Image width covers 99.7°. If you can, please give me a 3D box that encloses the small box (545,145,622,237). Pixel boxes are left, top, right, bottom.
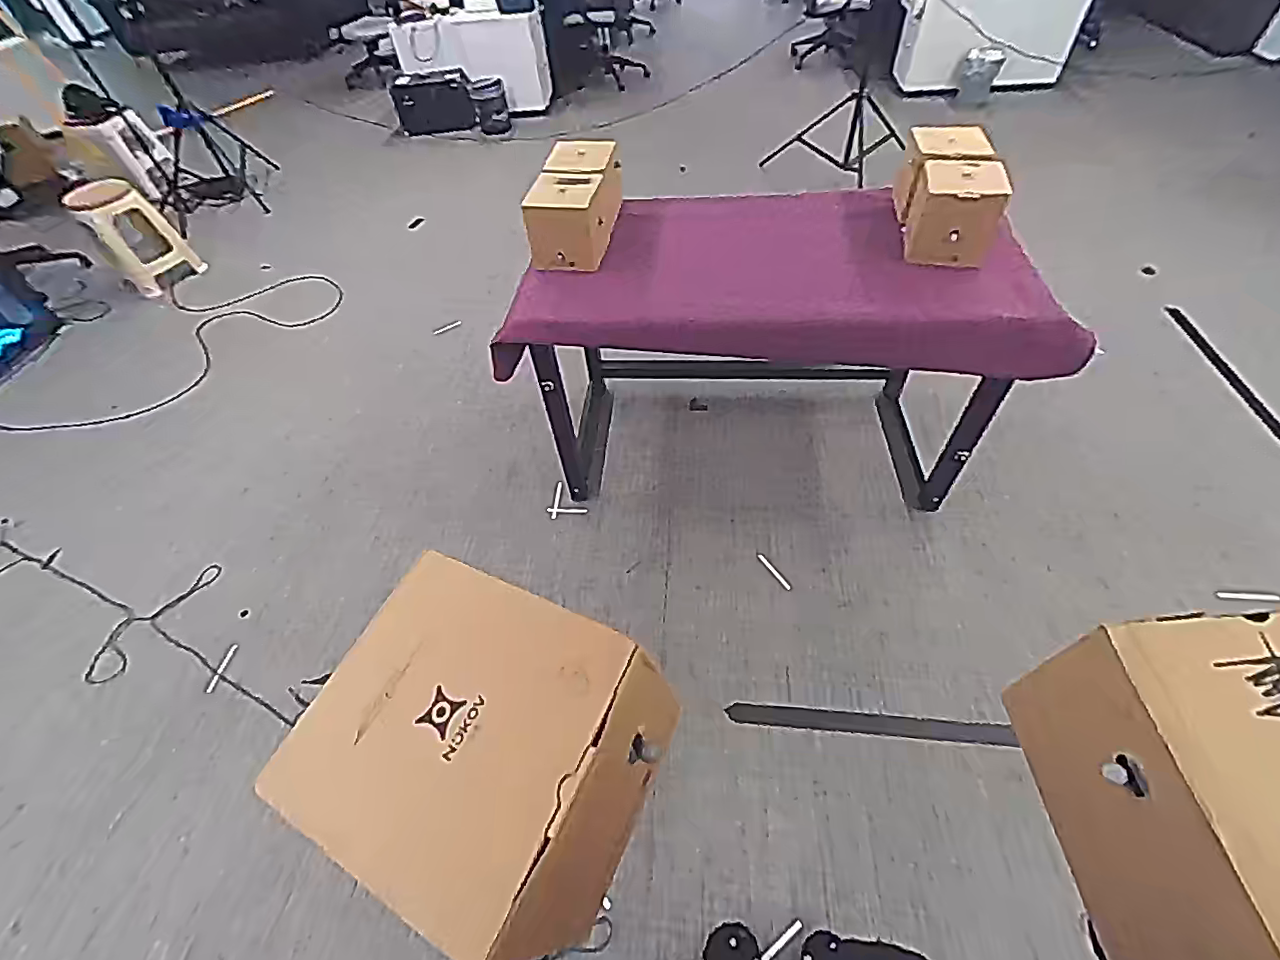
[{"bbox_3d":[-0.148,-0.797,1.490,0.168,0.176,0.179,5,53,9],"label":"small box"}]

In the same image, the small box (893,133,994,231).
[{"bbox_3d":[0.764,-0.764,1.386,0.168,0.176,0.179,5,51,8],"label":"small box"}]

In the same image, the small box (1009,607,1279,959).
[{"bbox_3d":[0.369,0.192,0.330,0.168,0.176,0.179,-8,54,7],"label":"small box"}]

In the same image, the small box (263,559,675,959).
[{"bbox_3d":[-0.090,0.184,0.374,0.179,0.176,0.168,15,60,24],"label":"small box"}]
